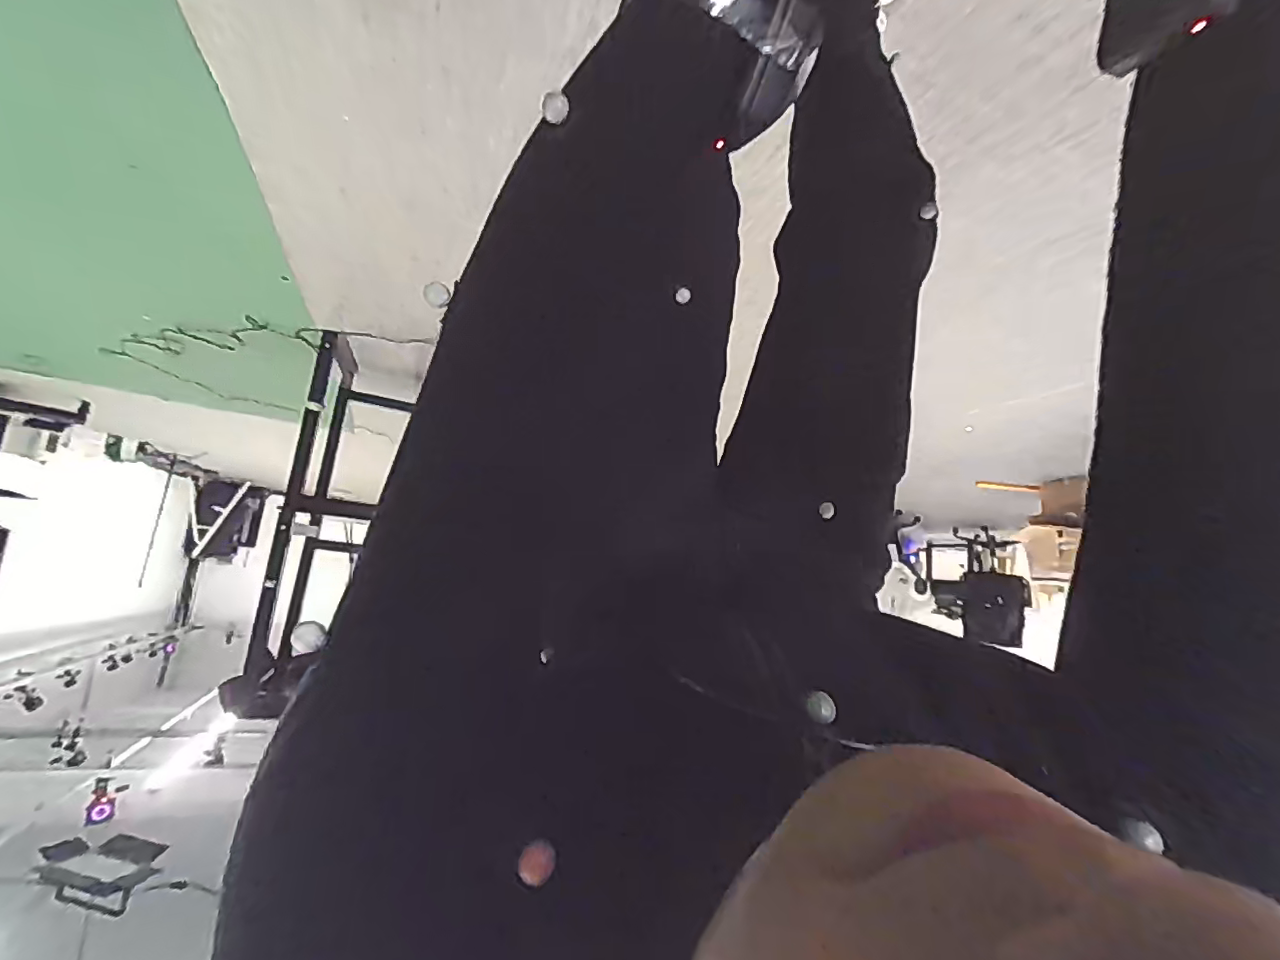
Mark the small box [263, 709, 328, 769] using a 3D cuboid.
[{"bbox_3d":[-1.286,0.966,2.032,0.179,0.176,0.168,11,167,-25],"label":"small box"}]
